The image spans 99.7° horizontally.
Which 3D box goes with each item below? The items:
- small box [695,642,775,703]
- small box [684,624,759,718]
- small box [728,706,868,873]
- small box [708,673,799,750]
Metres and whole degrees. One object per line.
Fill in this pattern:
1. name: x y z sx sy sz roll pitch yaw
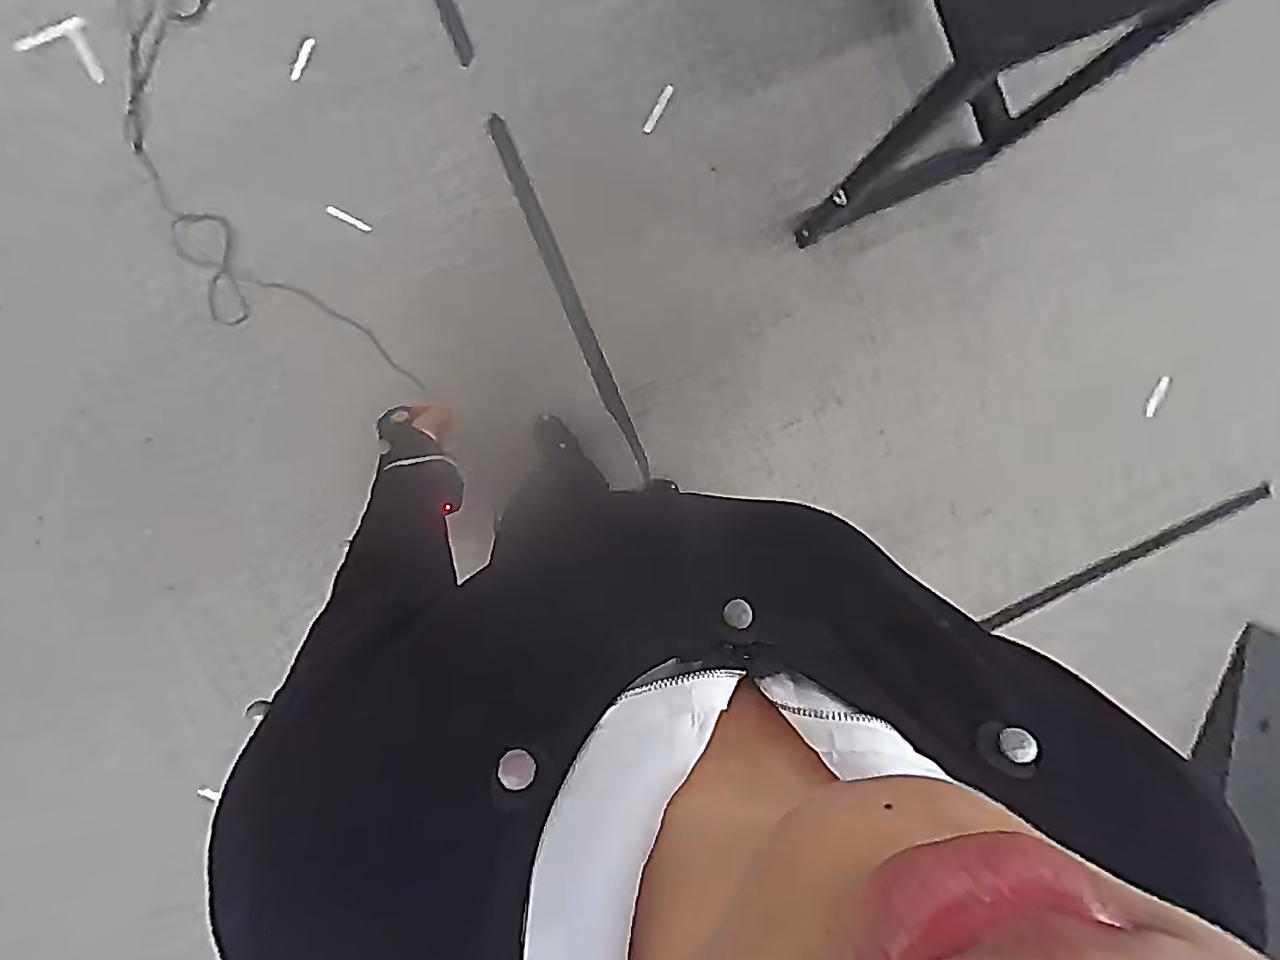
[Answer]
1. small box: 0.248 0.523 1.307 0.168 0.176 0.179 -23 94 -3
2. small box: 0.238 0.518 1.471 0.179 0.176 0.168 -24 95 -3
3. small box: 0.272 0.549 0.983 0.179 0.176 0.168 -24 95 -2
4. small box: 0.260 0.535 1.146 0.168 0.176 0.179 -24 96 -2
